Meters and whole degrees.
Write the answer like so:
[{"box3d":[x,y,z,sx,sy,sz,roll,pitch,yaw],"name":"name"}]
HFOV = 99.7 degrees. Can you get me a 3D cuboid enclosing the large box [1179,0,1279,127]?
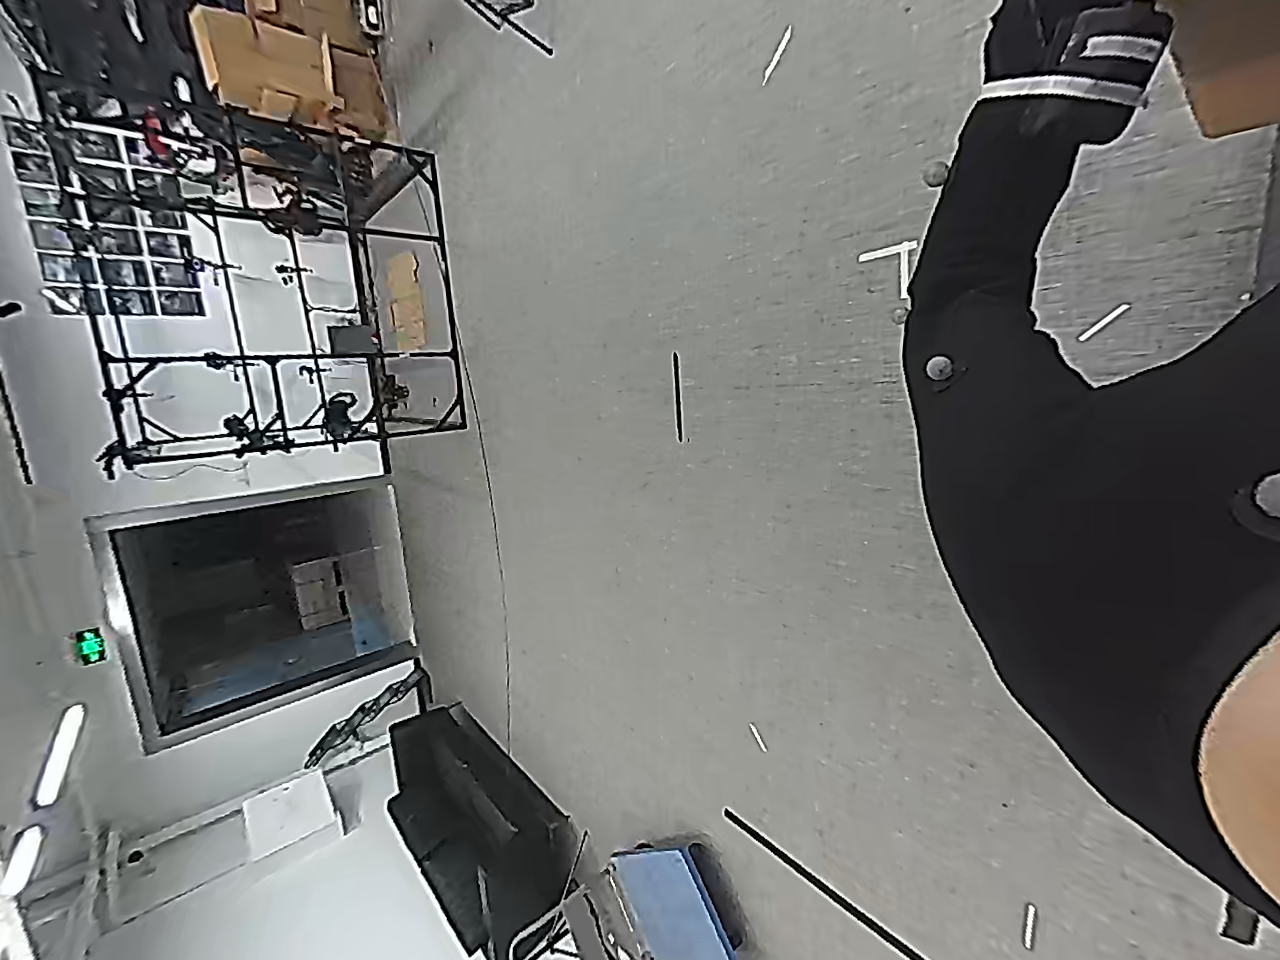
[{"box3d":[0.544,-0.433,0.237,0.408,0.320,0.320,11,106,48],"name":"large box"}]
